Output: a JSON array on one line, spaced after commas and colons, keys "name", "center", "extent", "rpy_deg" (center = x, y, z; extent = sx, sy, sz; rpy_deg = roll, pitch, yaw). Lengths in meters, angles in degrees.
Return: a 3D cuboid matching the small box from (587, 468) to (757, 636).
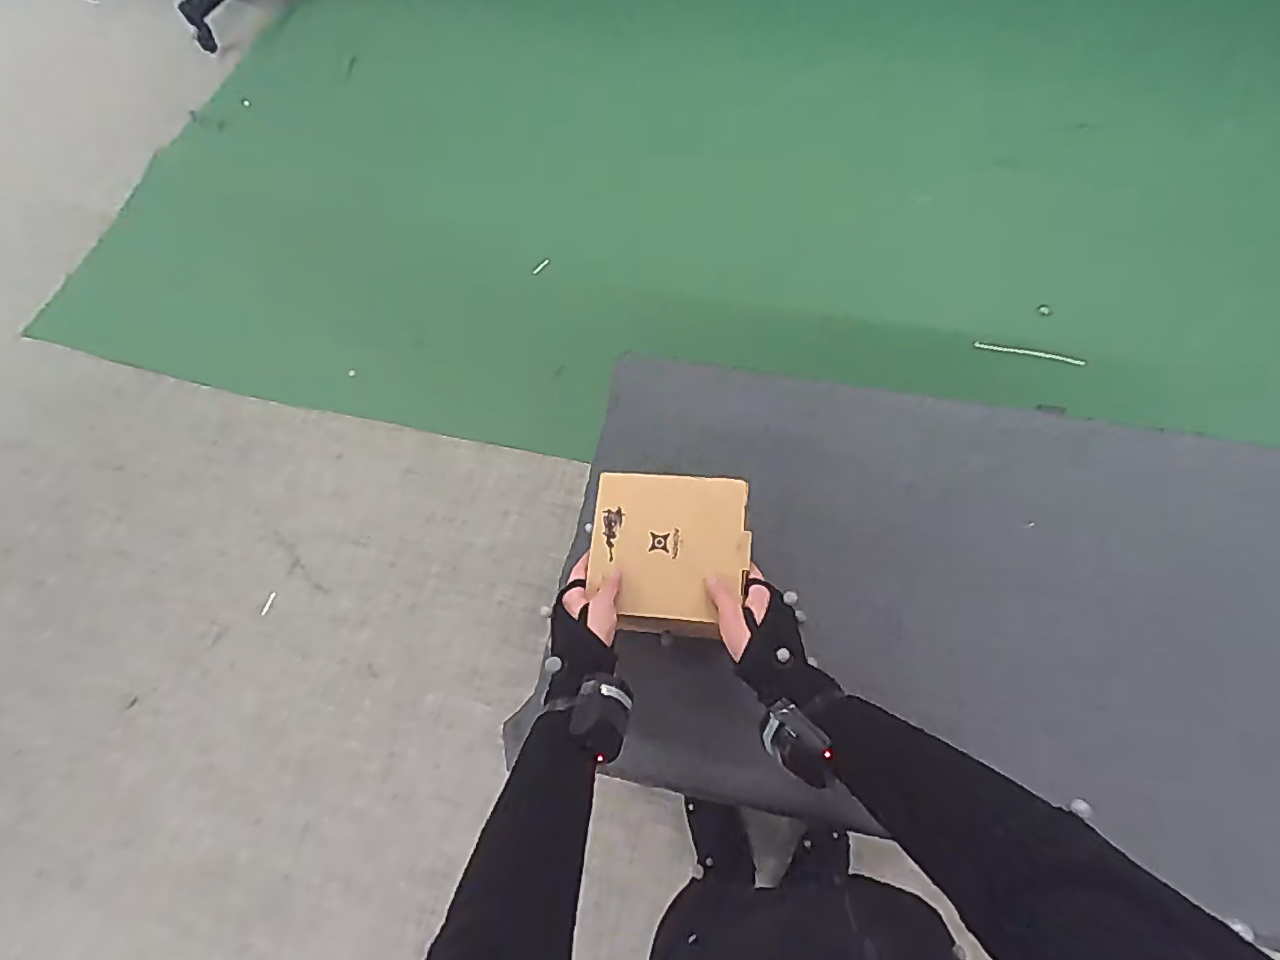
[{"name": "small box", "center": [0.043, 0.097, 0.670], "extent": [0.179, 0.176, 0.168], "rpy_deg": [5, 70, 6]}]
